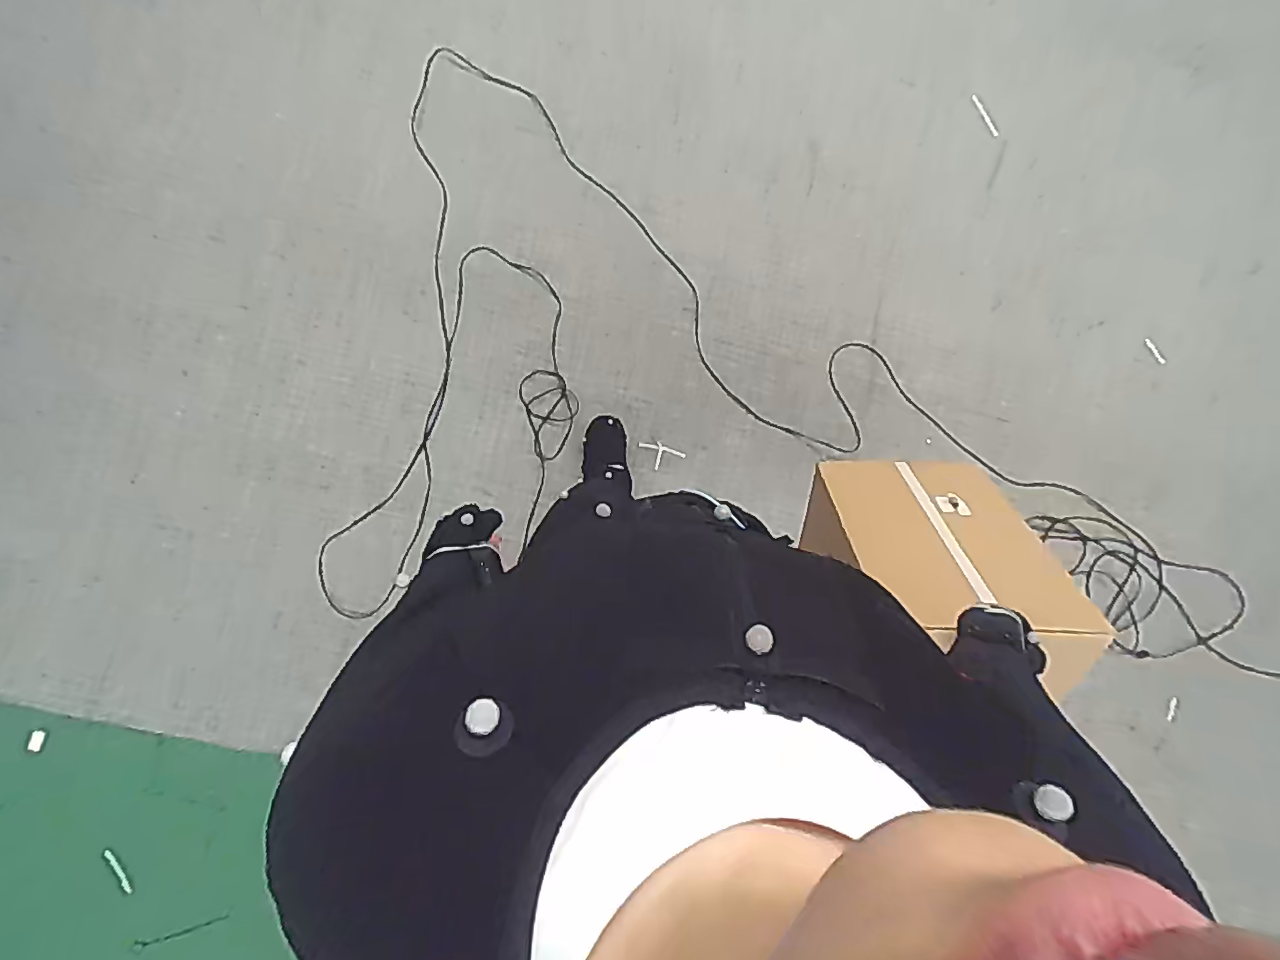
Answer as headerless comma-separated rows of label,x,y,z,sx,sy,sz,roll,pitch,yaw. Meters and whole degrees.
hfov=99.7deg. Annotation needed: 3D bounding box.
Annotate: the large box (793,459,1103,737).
large box,0.492,0.201,0.989,0.320,0.408,0.320,2,125,1
